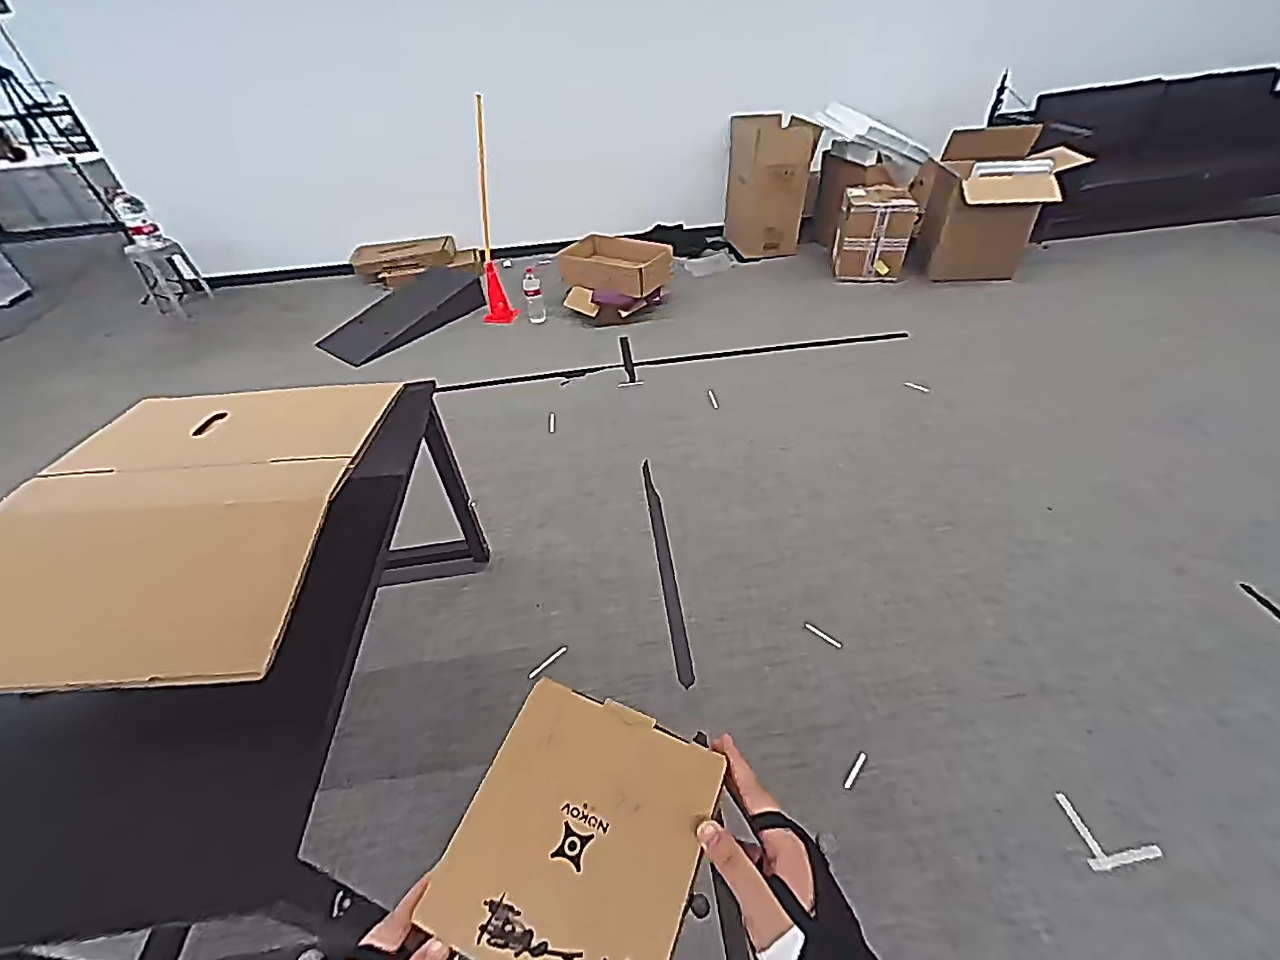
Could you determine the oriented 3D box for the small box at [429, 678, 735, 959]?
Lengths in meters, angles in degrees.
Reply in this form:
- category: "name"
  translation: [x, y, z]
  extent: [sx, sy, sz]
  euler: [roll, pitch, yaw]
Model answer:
- category: "small box"
  translation: [-0.030, 0.300, 0.444]
  extent: [0.168, 0.176, 0.179]
  euler: [15, 53, 18]
